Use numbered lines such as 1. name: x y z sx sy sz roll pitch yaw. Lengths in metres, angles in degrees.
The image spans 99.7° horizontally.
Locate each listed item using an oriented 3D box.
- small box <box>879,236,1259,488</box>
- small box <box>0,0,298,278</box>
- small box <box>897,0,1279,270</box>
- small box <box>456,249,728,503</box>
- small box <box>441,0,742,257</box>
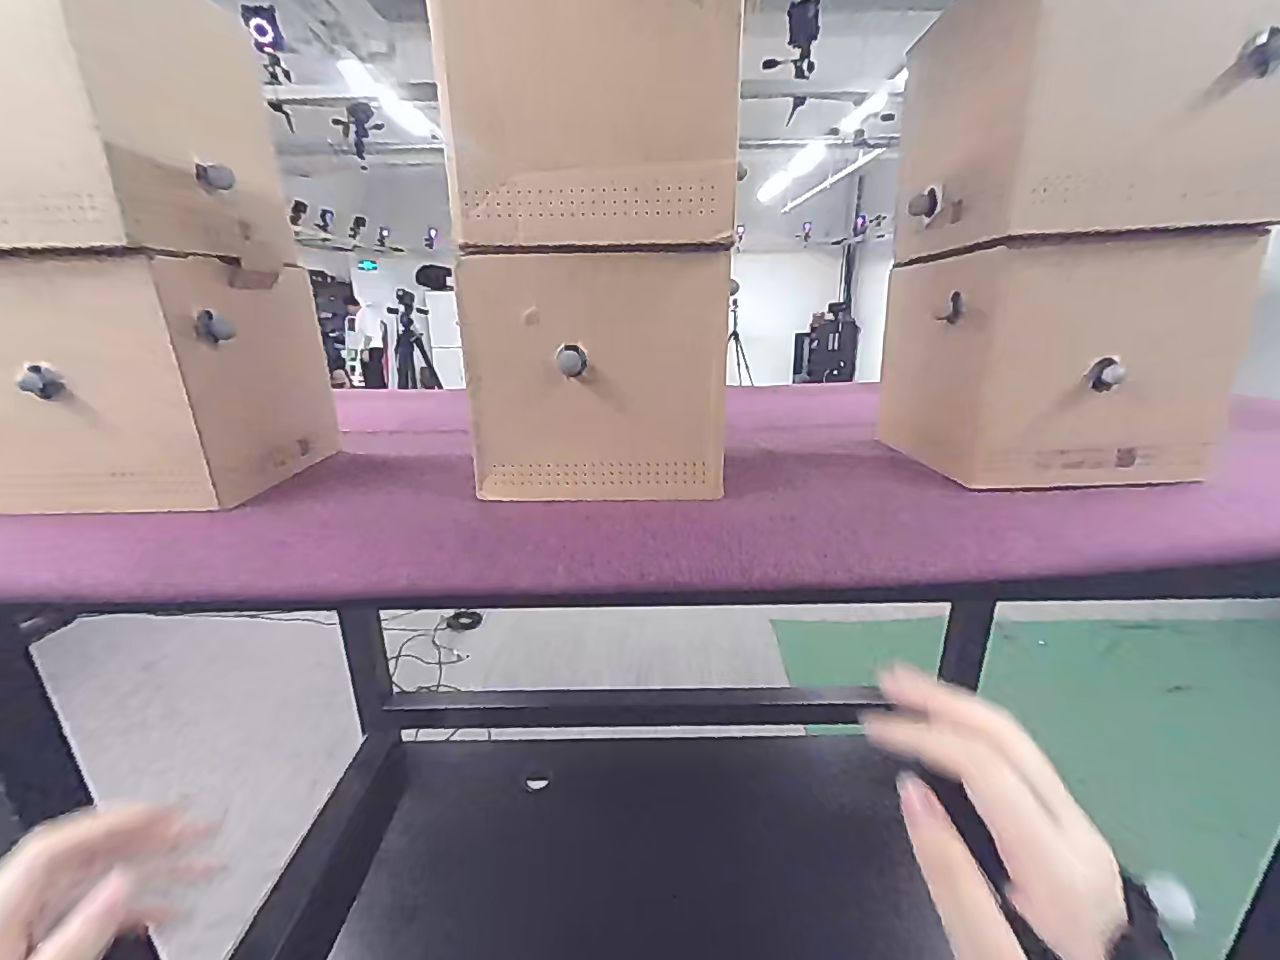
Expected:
1. small box: 0.315 -0.093 0.444 0.168 0.176 0.179 -1 16 2
2. small box: -0.372 -0.231 0.361 0.179 0.176 0.168 0 18 -1
3. small box: 0.306 -0.245 0.385 0.179 0.176 0.168 -3 15 1
4. small box: -0.026 -0.084 0.435 0.179 0.176 0.168 -1 18 1
5. small box: -0.024 -0.238 0.381 0.179 0.176 0.168 2 18 3
